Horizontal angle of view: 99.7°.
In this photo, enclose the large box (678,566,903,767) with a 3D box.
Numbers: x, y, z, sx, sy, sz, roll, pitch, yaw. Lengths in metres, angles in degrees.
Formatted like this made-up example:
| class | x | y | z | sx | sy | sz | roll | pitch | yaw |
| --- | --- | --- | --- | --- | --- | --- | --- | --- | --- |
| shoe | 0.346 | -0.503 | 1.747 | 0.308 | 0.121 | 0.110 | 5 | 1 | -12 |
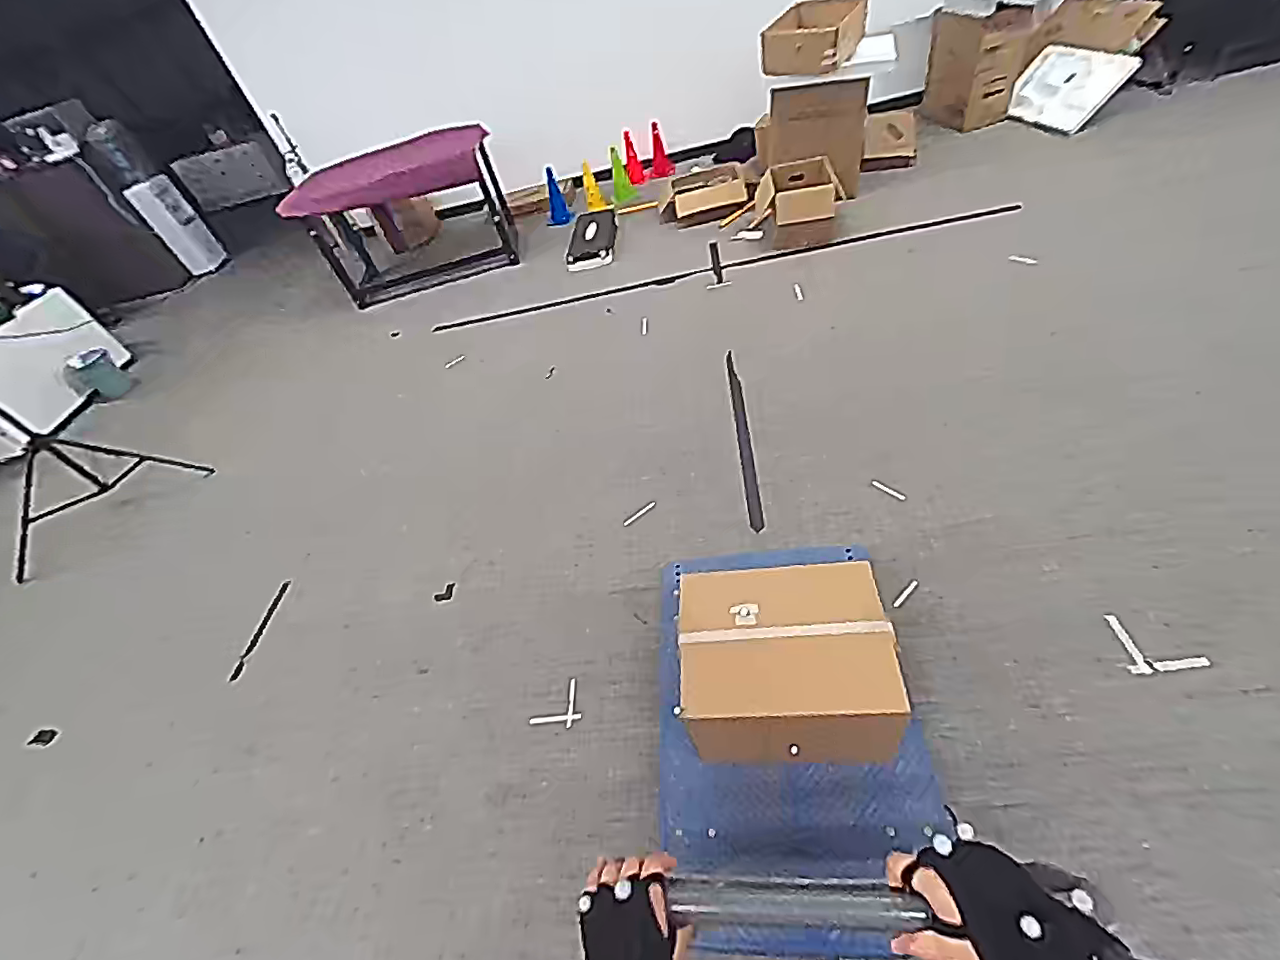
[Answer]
| class | x | y | z | sx | sy | sz | roll | pitch | yaw |
| --- | --- | --- | --- | --- | --- | --- | --- | --- | --- |
| large box | 0.311 | 0.420 | 1.189 | 0.408 | 0.320 | 0.320 | -8 | 46 | 12 |
